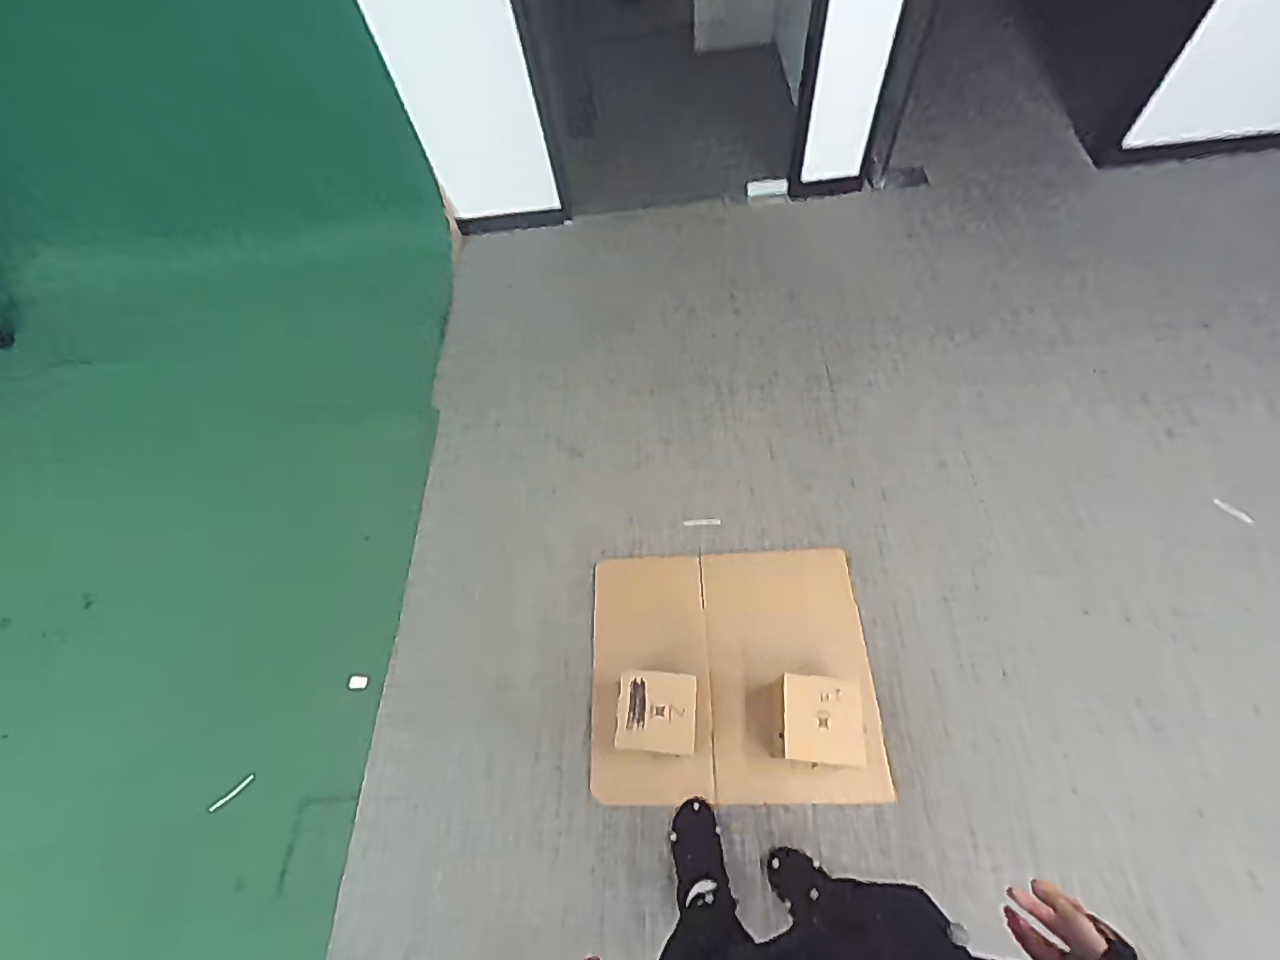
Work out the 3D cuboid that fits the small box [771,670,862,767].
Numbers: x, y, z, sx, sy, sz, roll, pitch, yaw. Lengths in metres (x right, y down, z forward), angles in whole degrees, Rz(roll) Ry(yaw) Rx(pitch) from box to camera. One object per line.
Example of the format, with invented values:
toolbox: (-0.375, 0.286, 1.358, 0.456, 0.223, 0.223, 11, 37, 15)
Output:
small box: (0.393, 0.542, 1.221, 0.168, 0.176, 0.179, 4, 61, 7)
